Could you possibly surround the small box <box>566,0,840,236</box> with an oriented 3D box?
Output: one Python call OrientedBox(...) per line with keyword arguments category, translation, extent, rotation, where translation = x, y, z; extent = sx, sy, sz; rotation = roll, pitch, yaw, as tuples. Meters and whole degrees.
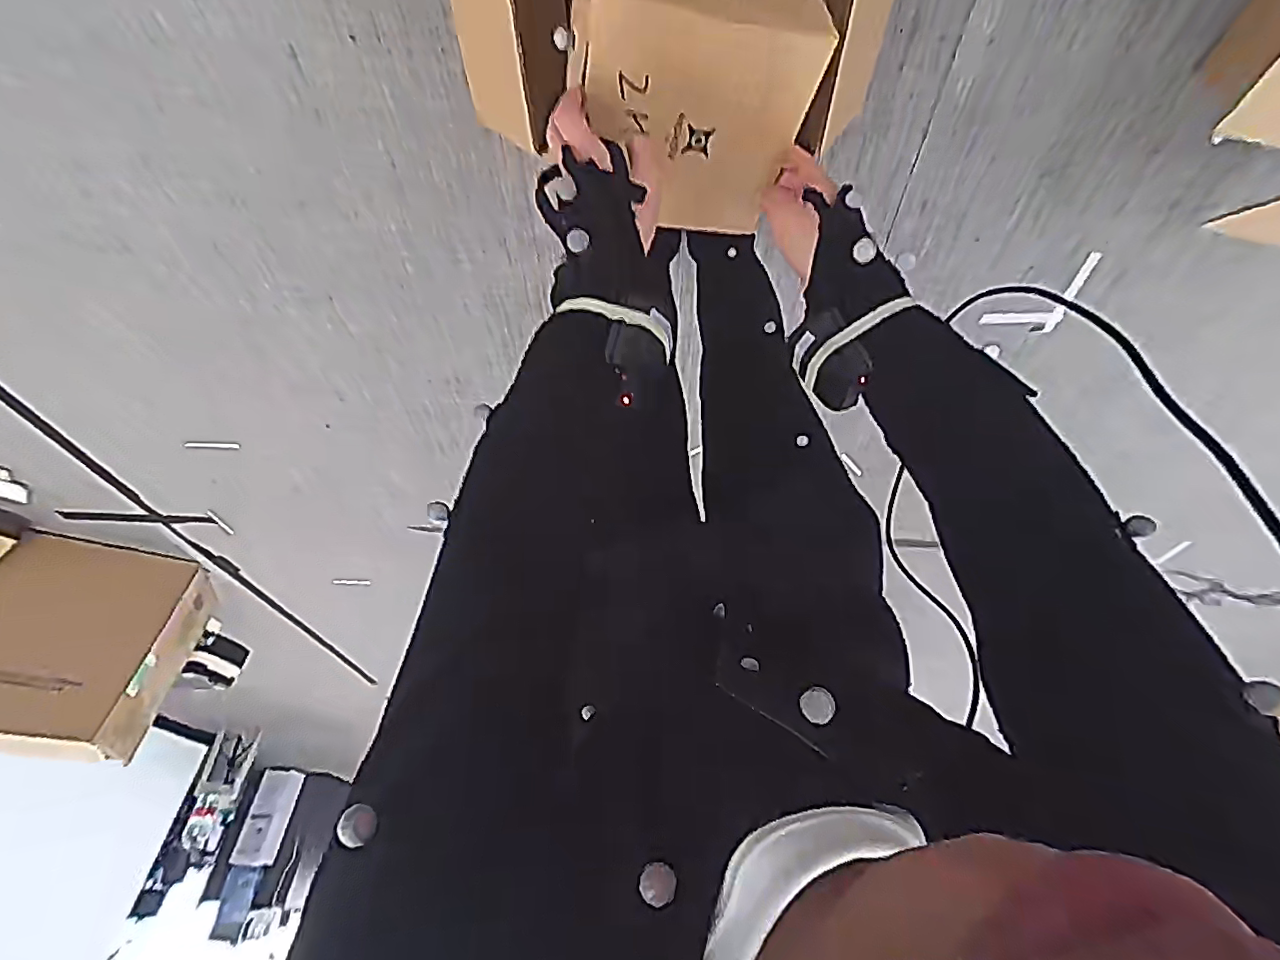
OrientedBox(category="small box", translation=(0.033, -0.339, 0.458), extent=(0.179, 0.176, 0.168), rotation=(1, 153, -12))
